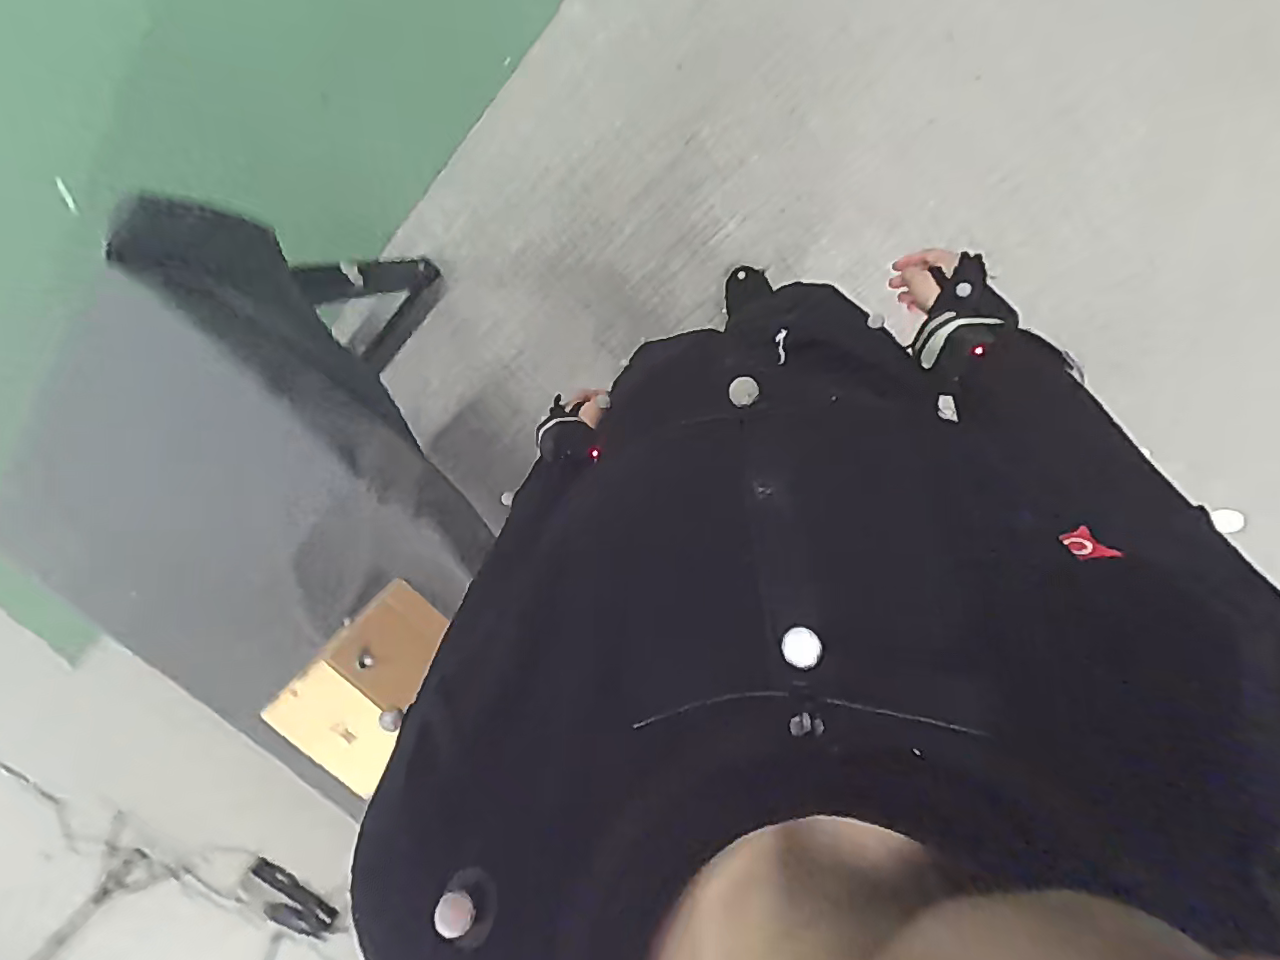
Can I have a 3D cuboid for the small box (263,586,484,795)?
[{"bbox_3d":[-0.349,0.281,0.740,0.168,0.176,0.179,-39,102,23],"label":"small box"}]
